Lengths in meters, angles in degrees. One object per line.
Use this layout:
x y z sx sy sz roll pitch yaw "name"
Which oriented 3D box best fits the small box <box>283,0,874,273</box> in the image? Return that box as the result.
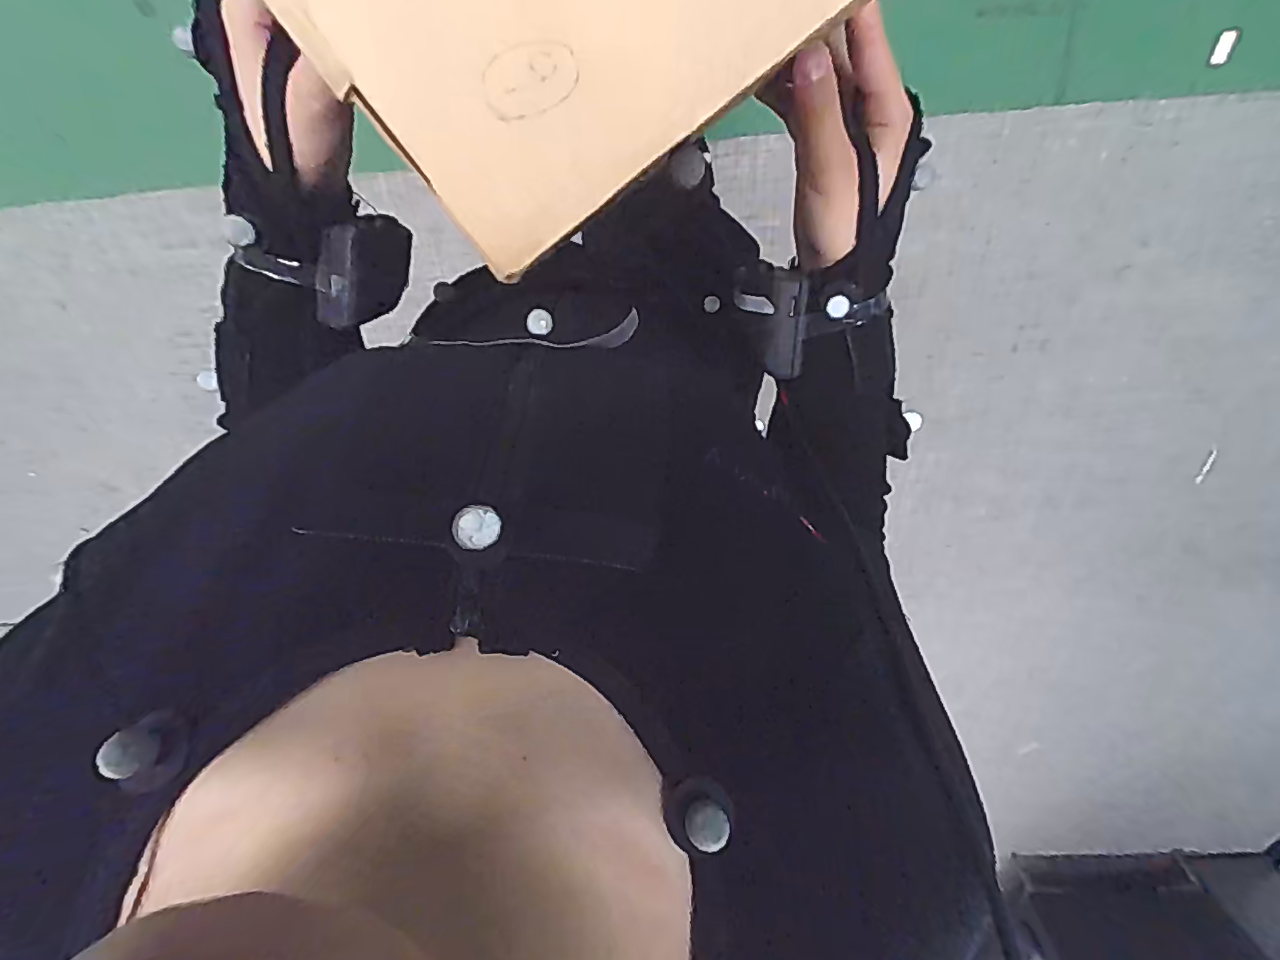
-0.019 -0.198 0.187 0.179 0.176 0.168 -33 113 13 "small box"
